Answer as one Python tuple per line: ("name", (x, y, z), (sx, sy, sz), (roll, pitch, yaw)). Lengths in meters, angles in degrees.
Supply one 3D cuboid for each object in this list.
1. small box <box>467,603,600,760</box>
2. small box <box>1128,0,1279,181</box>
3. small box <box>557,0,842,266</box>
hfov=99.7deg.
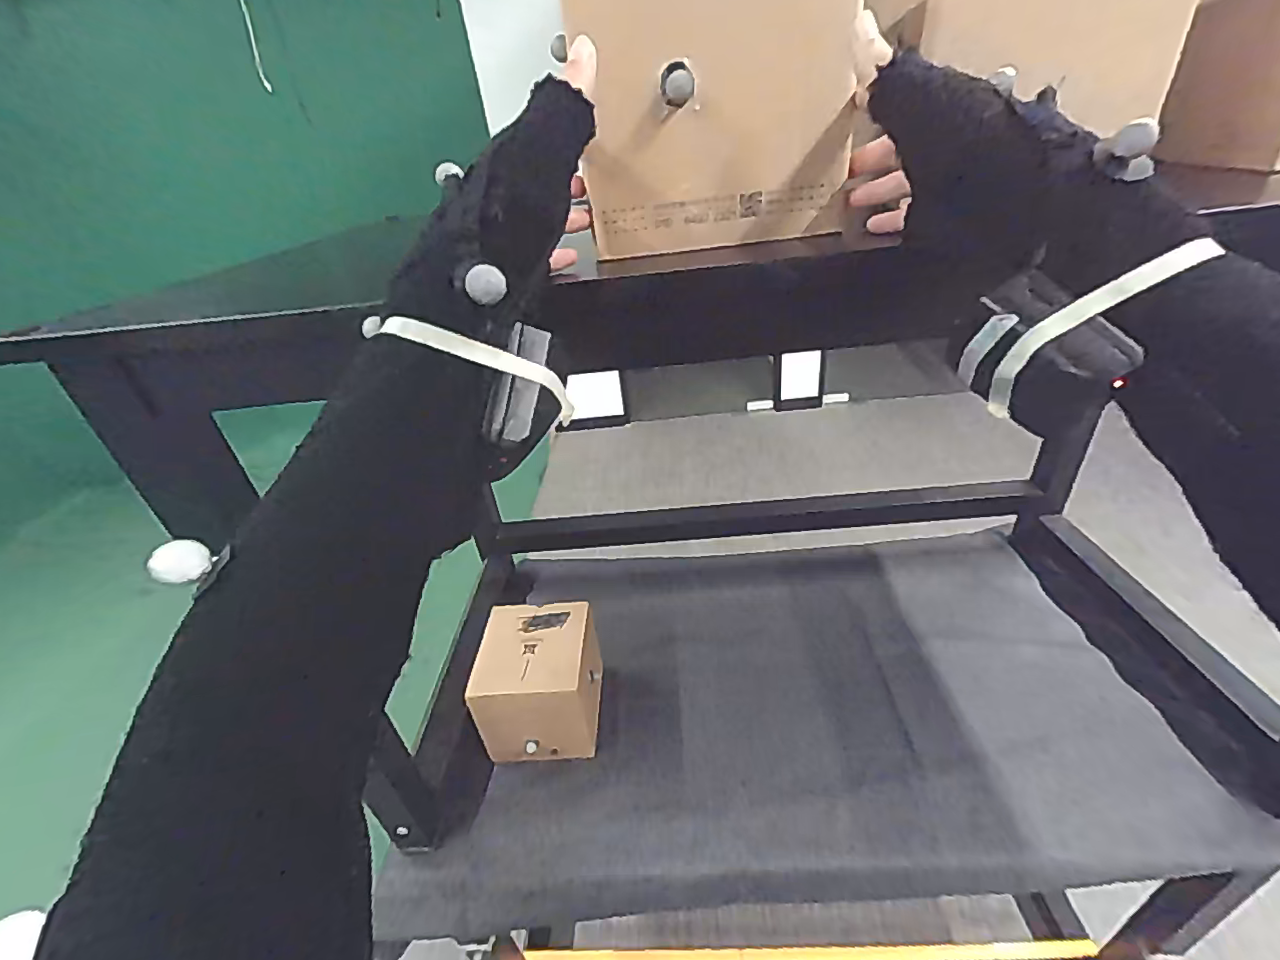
("small box", (-0.159, 0.325, 0.880), (0.168, 0.176, 0.179), (-5, 32, 4))
("small box", (0.514, -0.320, 0.389), (0.168, 0.176, 0.179), (2, 32, 14))
("small box", (0.041, -0.263, 0.399), (0.168, 0.176, 0.179), (-6, 31, 2))
